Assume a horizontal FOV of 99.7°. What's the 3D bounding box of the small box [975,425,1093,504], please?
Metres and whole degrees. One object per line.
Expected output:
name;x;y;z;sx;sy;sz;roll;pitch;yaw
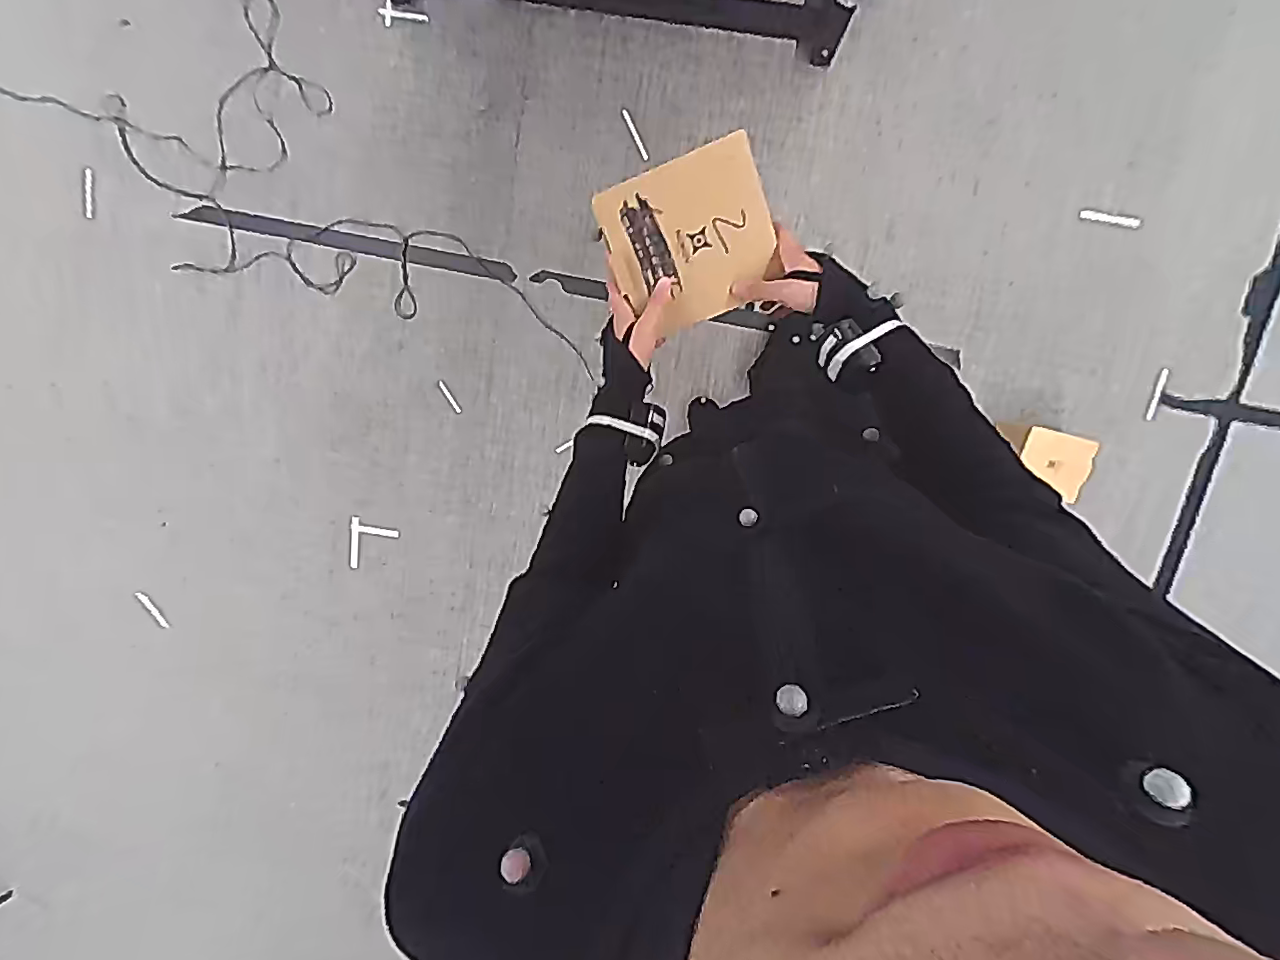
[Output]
small box;1.058;-0.049;1.470;0.179;0.176;0.168;15;101;1
